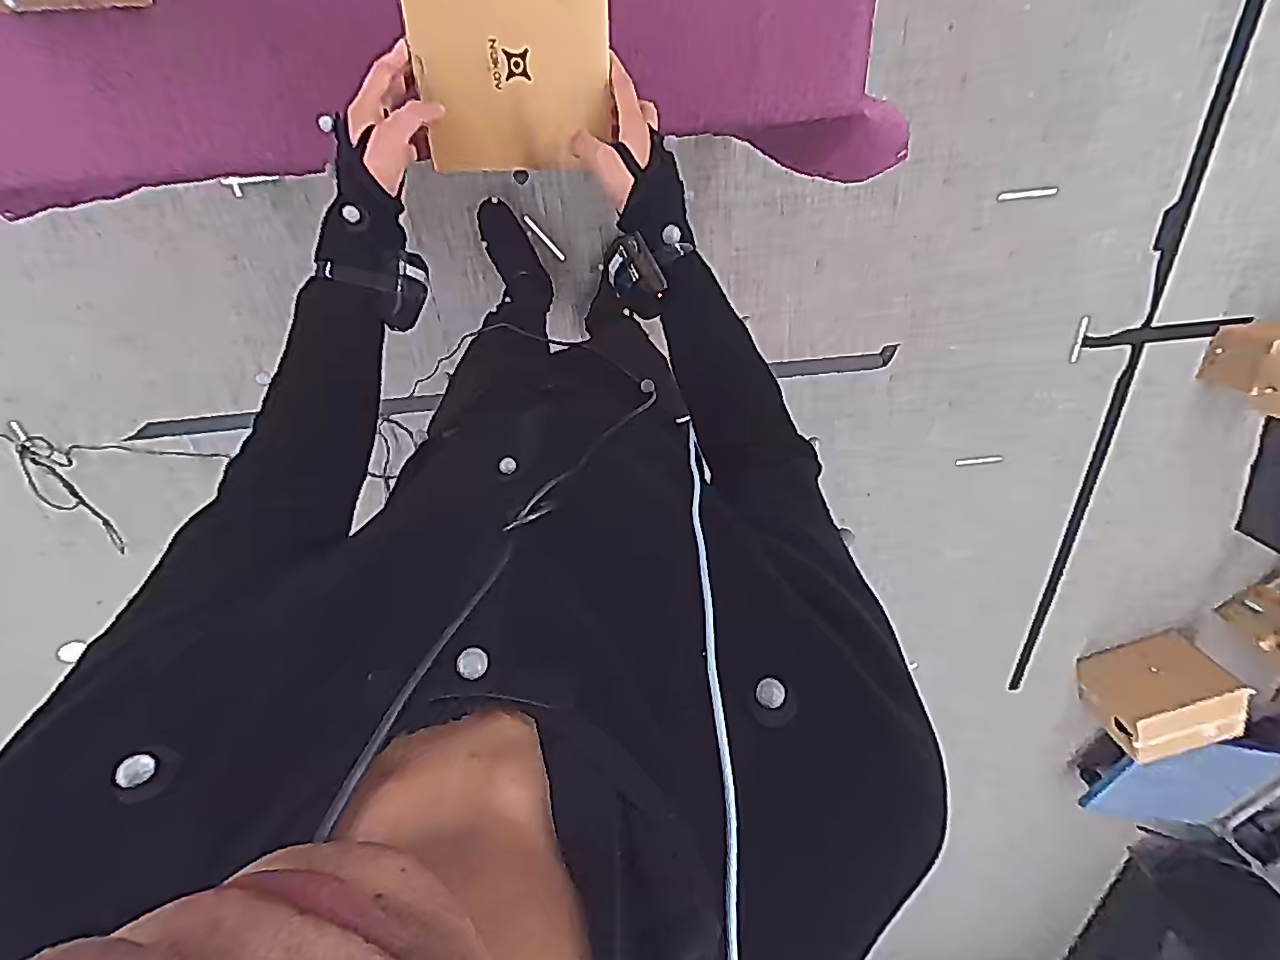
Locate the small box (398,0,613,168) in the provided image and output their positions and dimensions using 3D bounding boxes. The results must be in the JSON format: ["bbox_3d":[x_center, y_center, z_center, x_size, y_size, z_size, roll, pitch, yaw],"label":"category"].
[{"bbox_3d":[-0.119,-0.417,0.535,0.179,0.176,0.168,-2,128,-3],"label":"small box"}]

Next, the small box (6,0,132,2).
[{"bbox_3d":[-0.612,-0.550,0.475,0.168,0.176,0.179,-4,120,-3],"label":"small box"}]
